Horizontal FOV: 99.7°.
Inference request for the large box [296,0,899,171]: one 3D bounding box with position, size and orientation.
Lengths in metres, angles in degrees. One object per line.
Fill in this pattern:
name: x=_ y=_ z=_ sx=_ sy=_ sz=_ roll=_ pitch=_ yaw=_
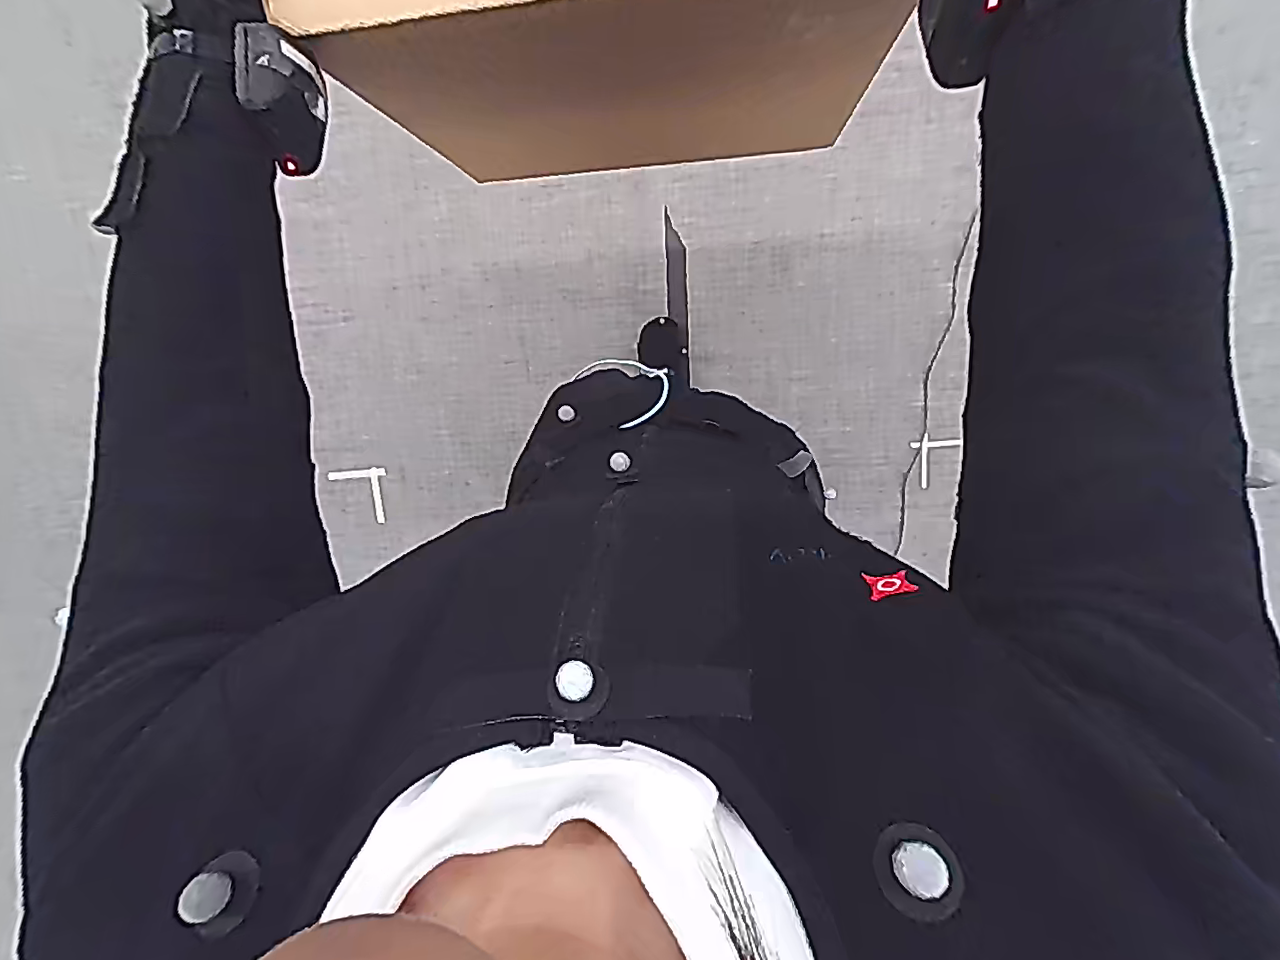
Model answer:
large box: x=-0.018 y=-0.482 z=0.431 sx=0.408 sy=0.320 sz=0.320 roll=-2 pitch=104 yaw=7
